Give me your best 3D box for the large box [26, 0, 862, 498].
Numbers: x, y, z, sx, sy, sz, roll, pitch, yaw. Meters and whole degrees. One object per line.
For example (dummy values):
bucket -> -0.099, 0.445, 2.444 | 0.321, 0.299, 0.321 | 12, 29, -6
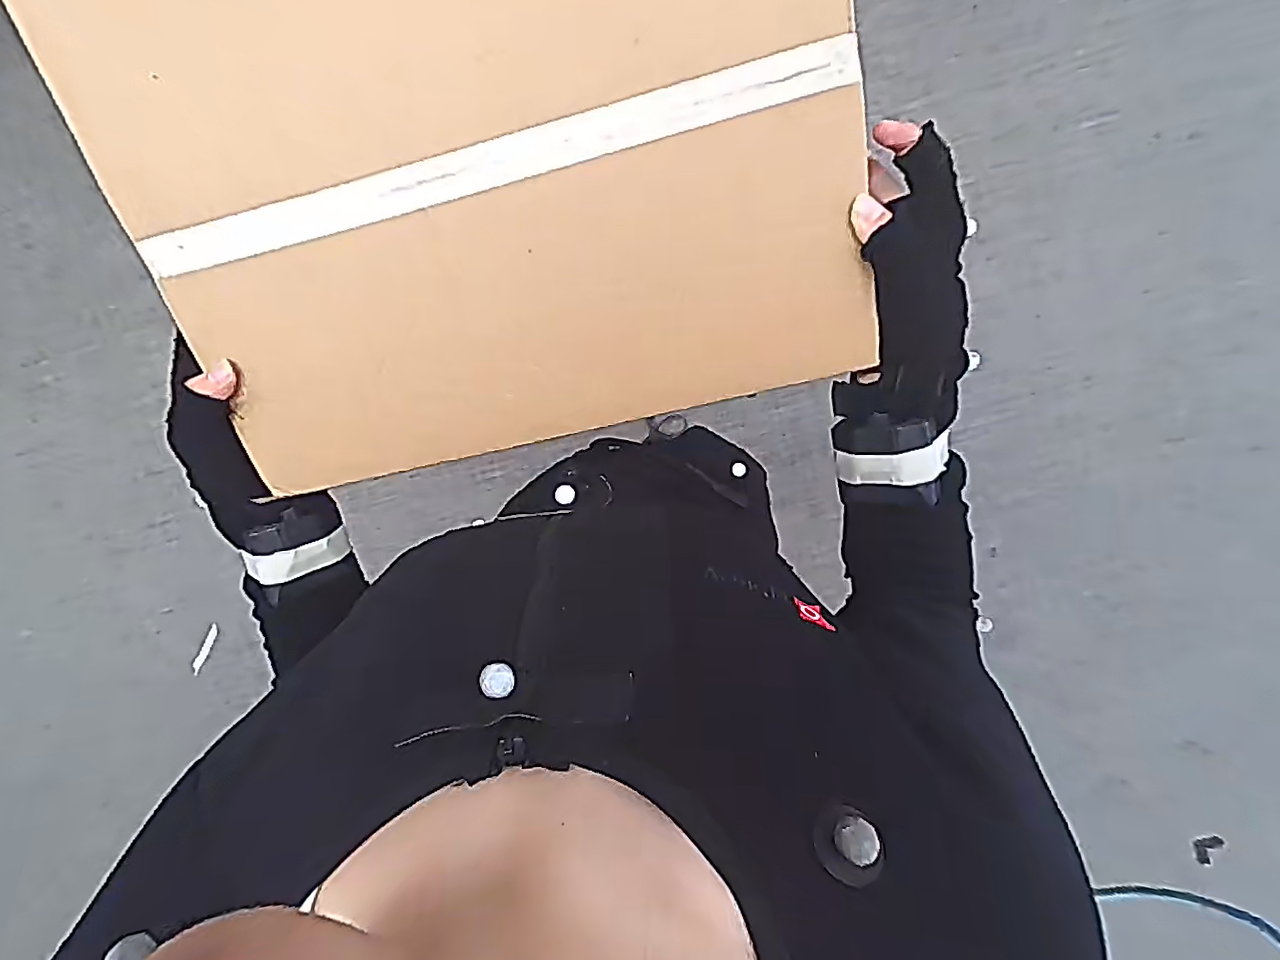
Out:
large box -> -0.084, -0.224, 0.440 | 0.408, 0.320, 0.320 | -12, 111, 7
